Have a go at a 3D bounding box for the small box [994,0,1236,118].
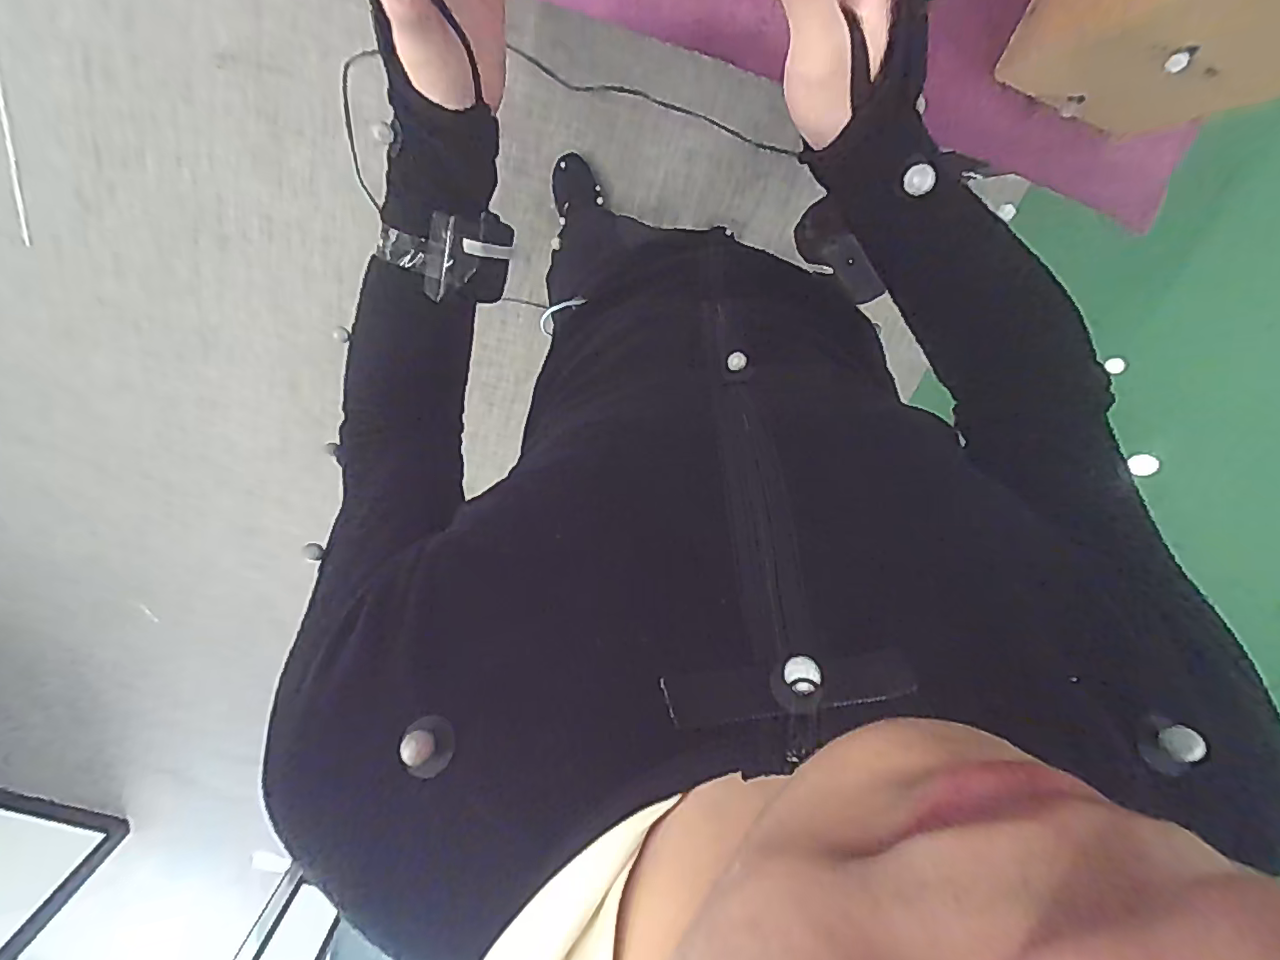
[{"bbox_3d":[0.516,-0.493,0.543,0.179,0.176,0.168,20,114,-5],"label":"small box"}]
